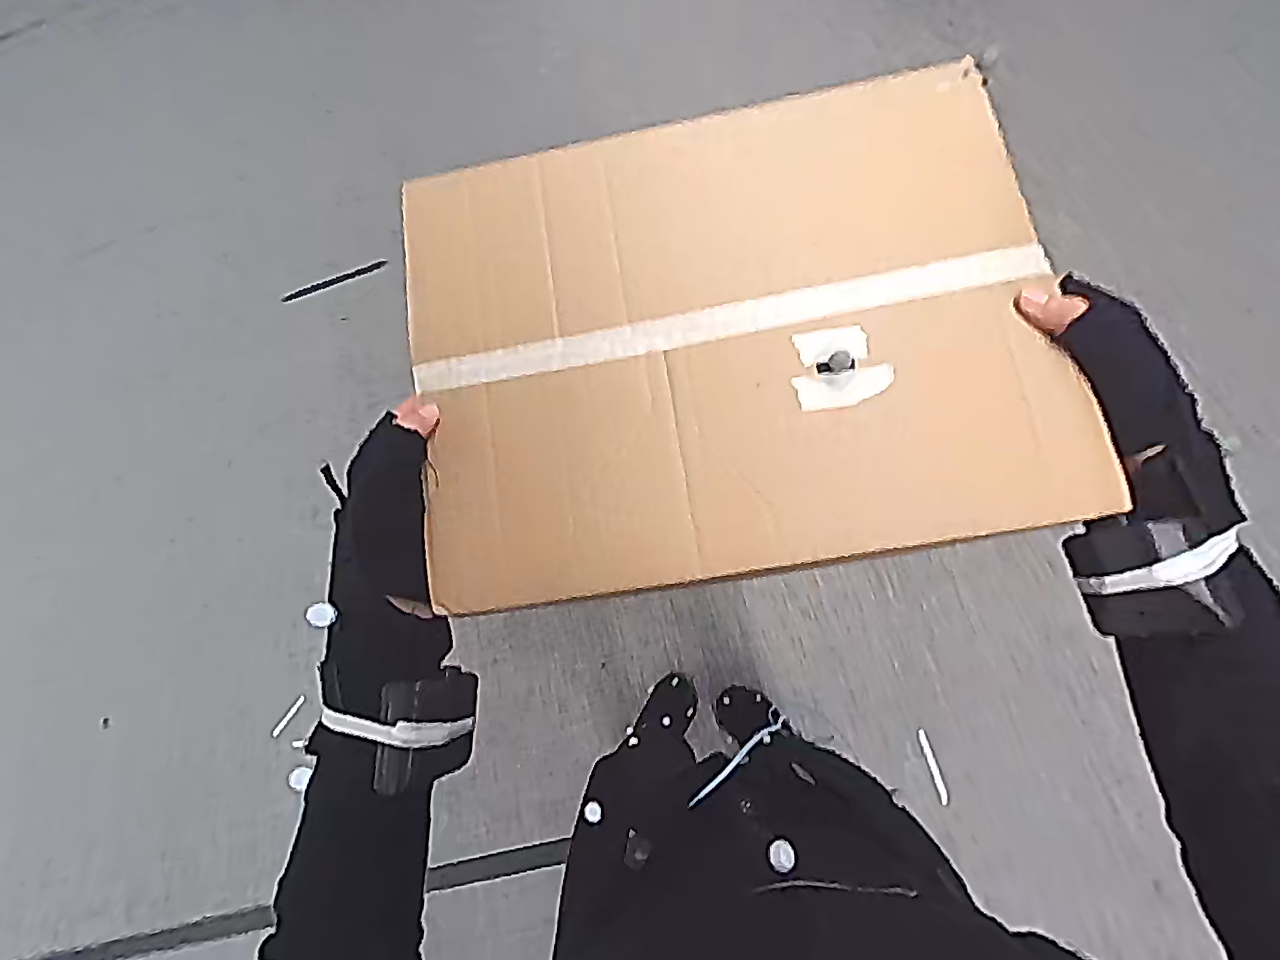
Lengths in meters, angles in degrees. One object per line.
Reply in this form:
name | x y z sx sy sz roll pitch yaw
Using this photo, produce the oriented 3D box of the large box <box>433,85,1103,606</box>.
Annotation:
large box | 0.072 -0.069 0.507 0.408 0.320 0.320 -9 79 5
